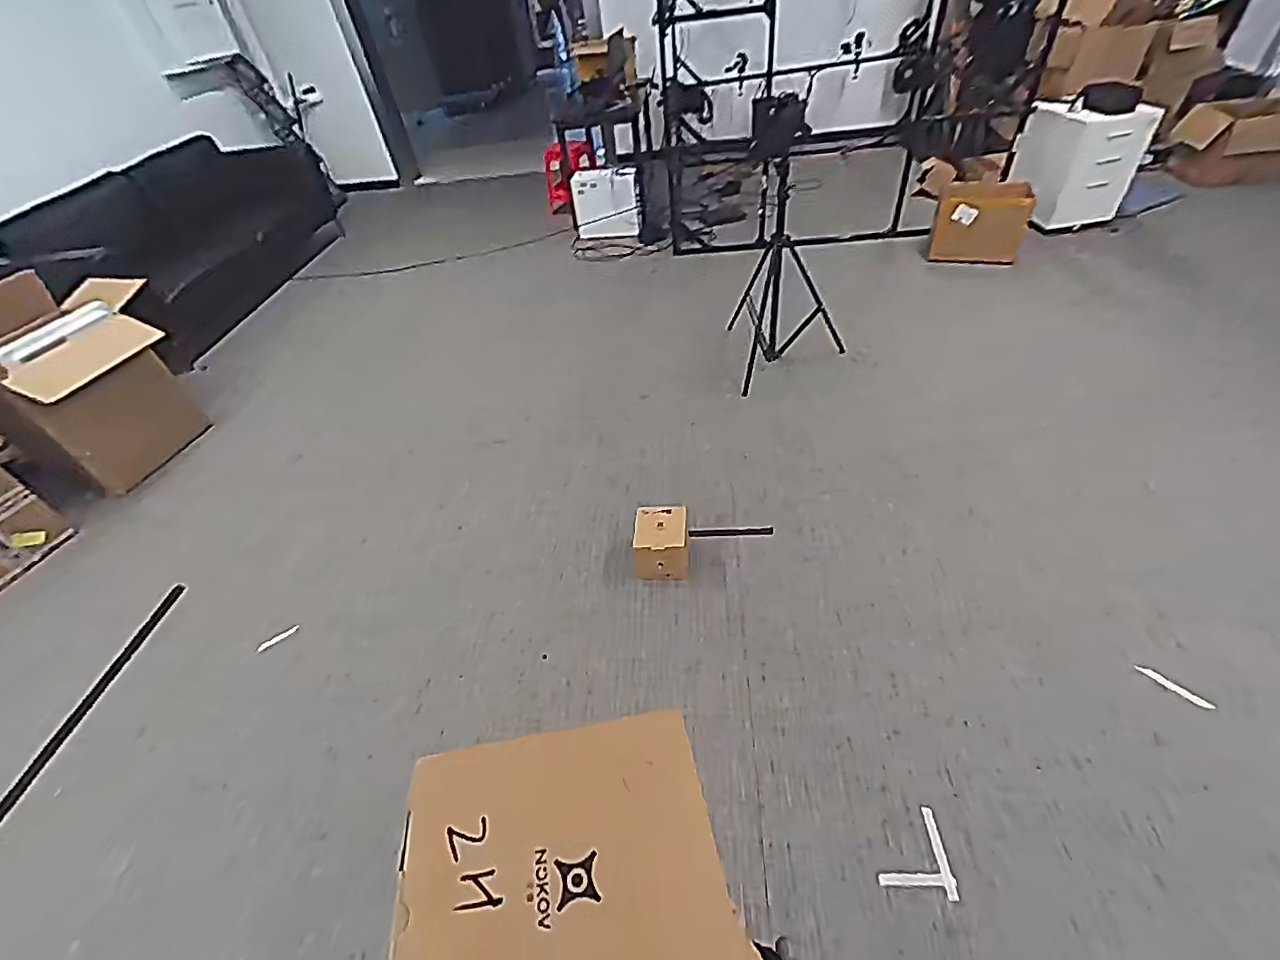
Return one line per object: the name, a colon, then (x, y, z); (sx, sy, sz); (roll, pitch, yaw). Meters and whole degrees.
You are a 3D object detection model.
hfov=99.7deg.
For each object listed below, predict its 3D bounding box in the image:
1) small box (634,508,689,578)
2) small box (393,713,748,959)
small box: (0.077, 0.211, 1.804); (0.168, 0.176, 0.179); (0, 45, 8)
small box: (-0.040, 0.278, 0.343); (0.179, 0.176, 0.168); (-8, 40, -8)
